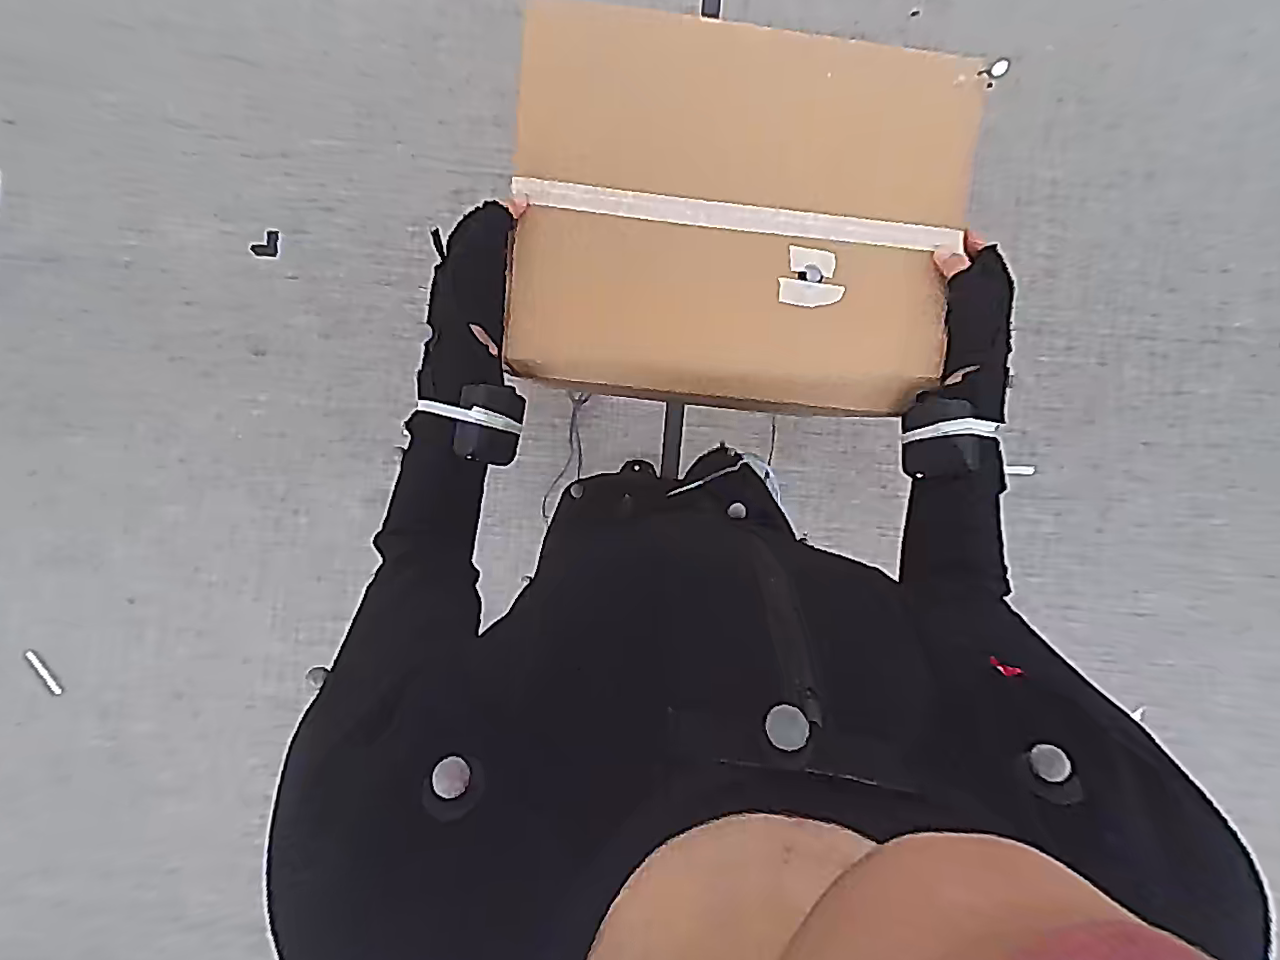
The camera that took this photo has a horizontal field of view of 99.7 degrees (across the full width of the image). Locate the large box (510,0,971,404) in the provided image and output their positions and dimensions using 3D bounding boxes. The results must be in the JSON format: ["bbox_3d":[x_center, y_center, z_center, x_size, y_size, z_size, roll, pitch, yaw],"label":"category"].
[{"bbox_3d":[0.079,-0.263,0.638,0.408,0.320,0.320,6,98,-4],"label":"large box"}]
